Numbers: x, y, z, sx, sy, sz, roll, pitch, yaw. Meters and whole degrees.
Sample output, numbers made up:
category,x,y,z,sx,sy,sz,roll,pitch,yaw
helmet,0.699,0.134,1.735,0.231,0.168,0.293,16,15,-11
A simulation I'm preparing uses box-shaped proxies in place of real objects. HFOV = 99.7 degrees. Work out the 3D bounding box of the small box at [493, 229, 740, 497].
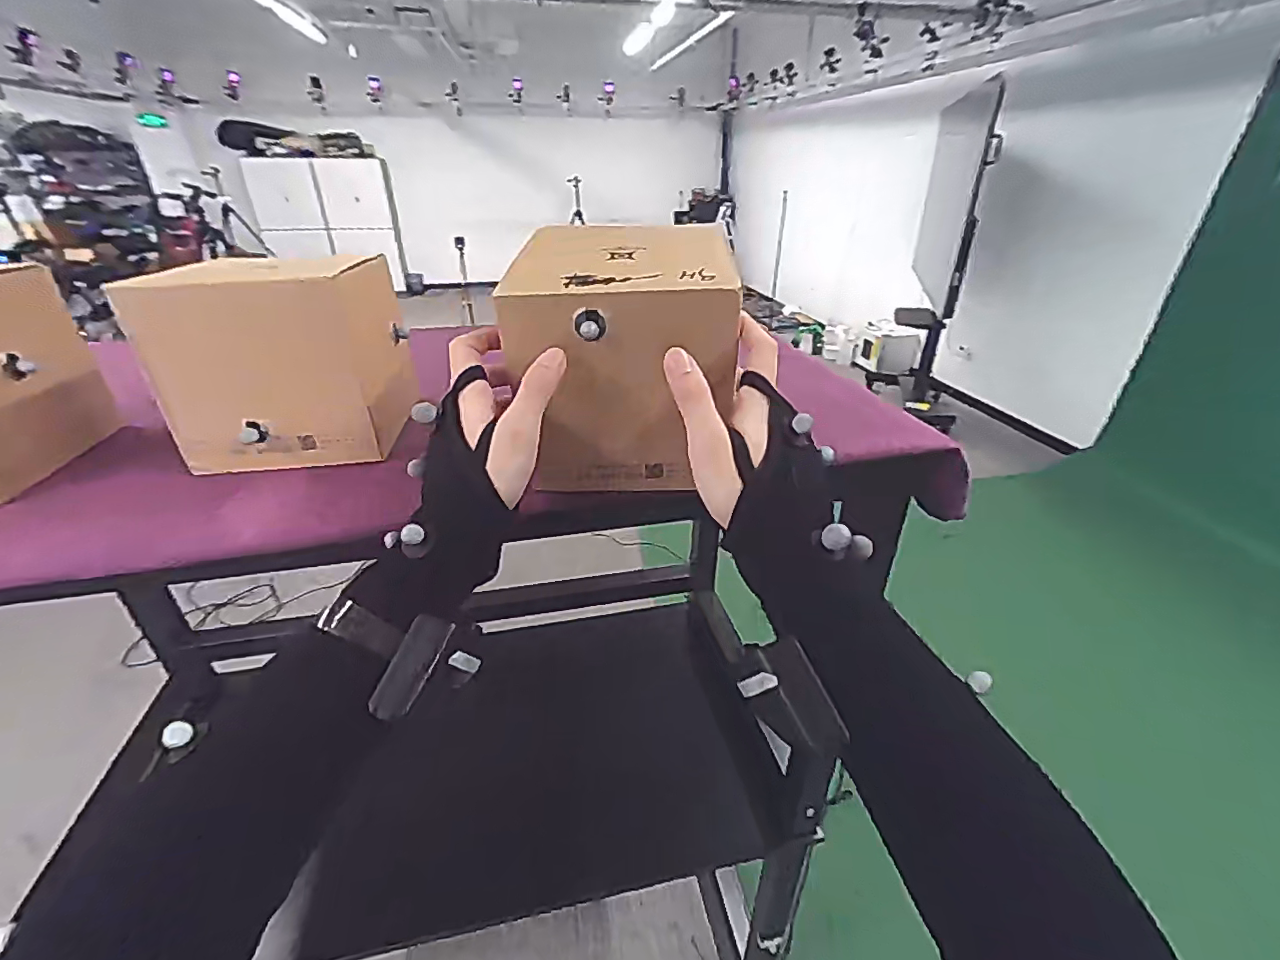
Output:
category,x,y,z,sx,sy,sz,roll,pitch,yaw
small box,-0.008,-0.104,0.464,0.168,0.176,0.179,-1,38,5

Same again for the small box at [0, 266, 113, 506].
category,x,y,z,sx,sy,sz,roll,pitch,yaw
small box,-0.615,-0.081,0.460,0.168,0.176,0.179,-7,30,-11

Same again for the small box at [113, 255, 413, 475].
category,x,y,z,sx,sy,sz,roll,pitch,yaw
small box,-0.335,-0.119,0.531,0.168,0.176,0.179,-6,30,-8
